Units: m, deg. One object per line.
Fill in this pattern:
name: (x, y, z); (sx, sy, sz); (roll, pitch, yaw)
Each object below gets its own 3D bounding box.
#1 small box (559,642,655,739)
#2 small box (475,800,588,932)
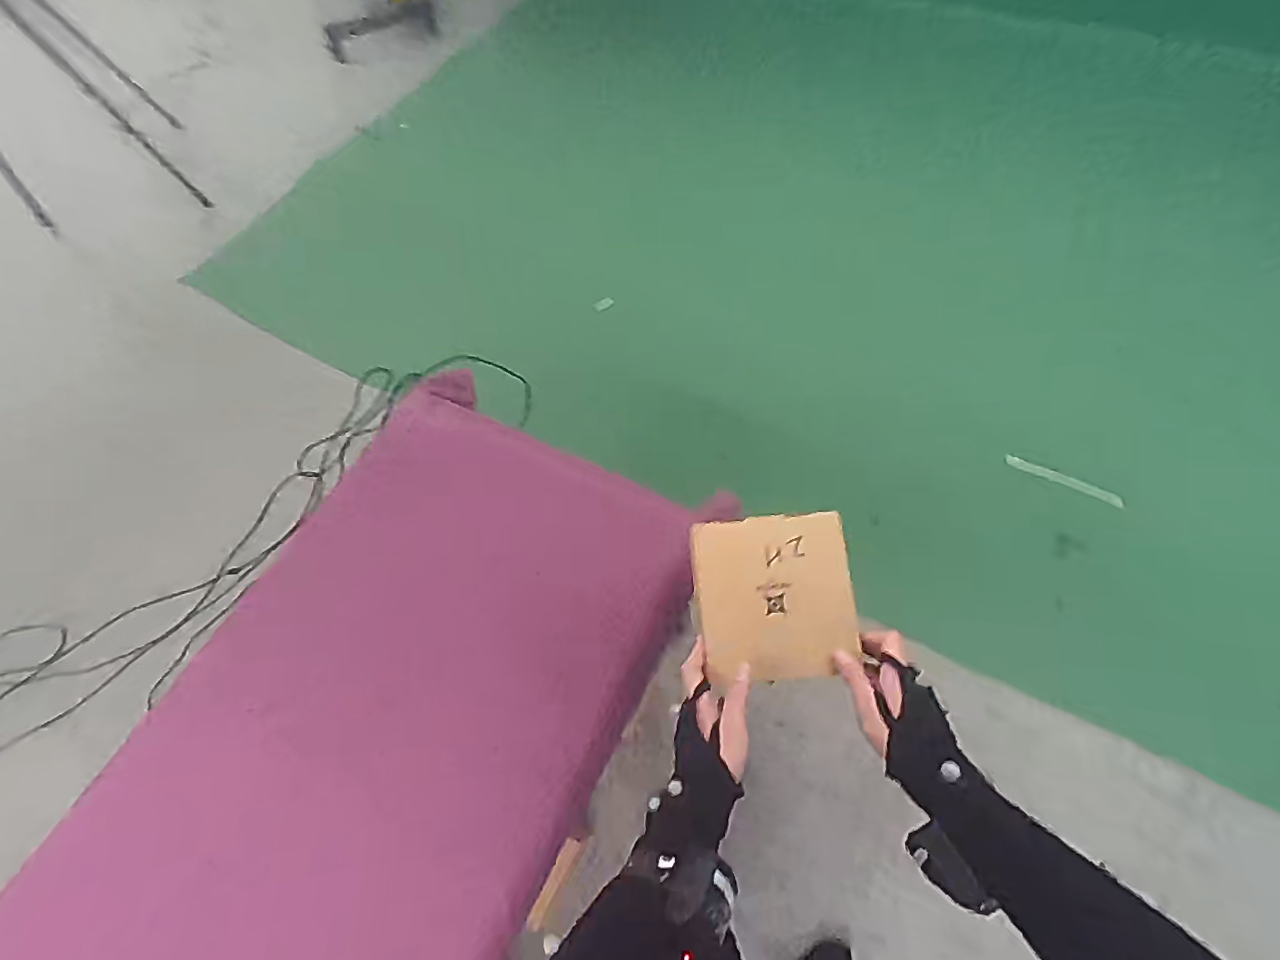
small box: (-0.072, 0.530, 1.358); (0.179, 0.176, 0.168); (20, 67, 17)
small box: (-0.231, 0.850, 1.216); (0.168, 0.176, 0.179); (24, 69, 18)
